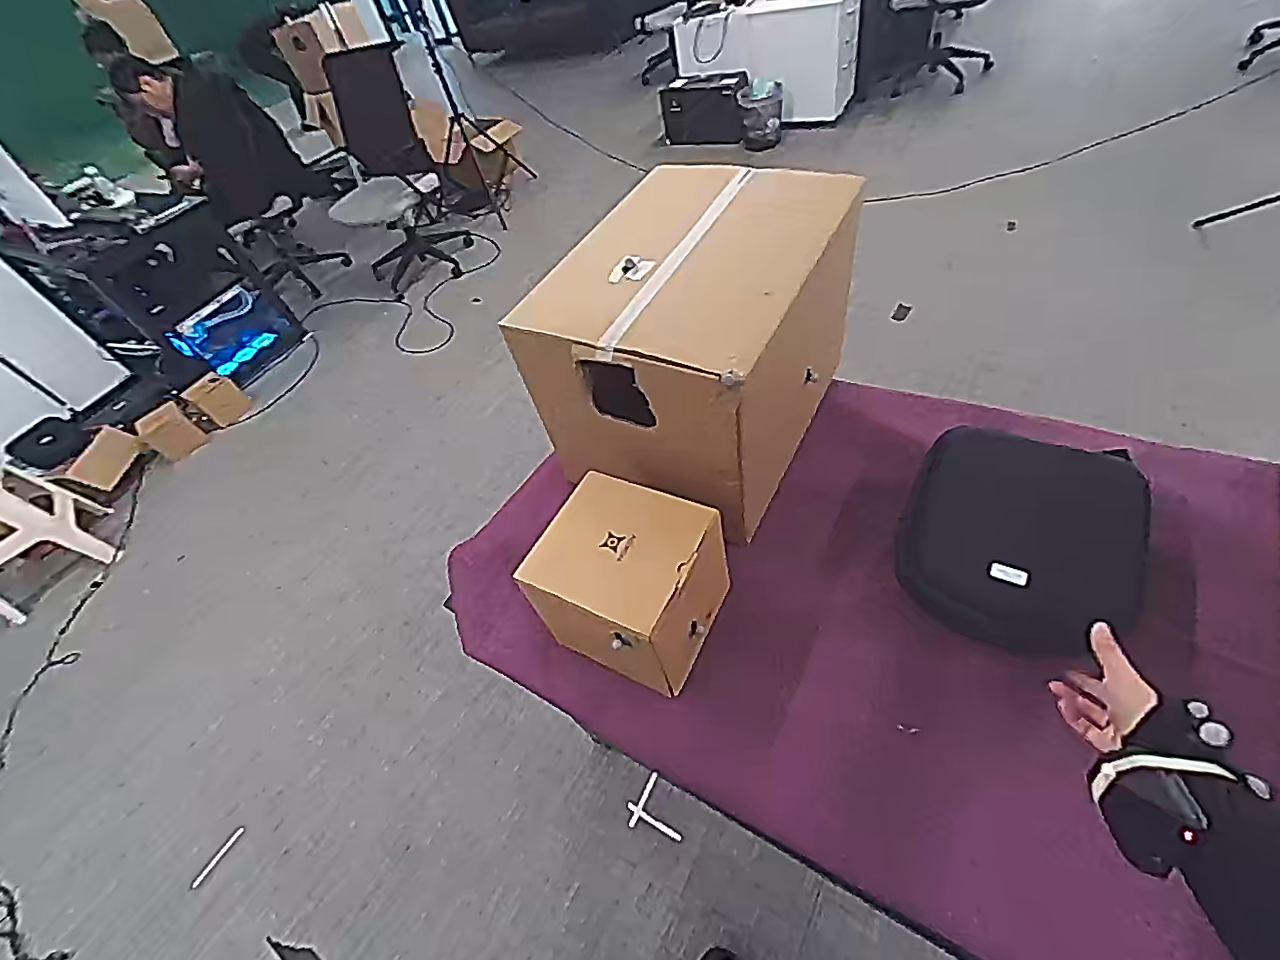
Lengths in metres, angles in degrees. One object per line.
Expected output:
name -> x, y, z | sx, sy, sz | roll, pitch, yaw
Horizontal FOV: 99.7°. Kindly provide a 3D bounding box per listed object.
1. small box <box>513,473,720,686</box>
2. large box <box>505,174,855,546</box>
small box -> -0.015, 0.121, 0.653 | 0.179, 0.176, 0.168 | 16, 56, 25
large box -> 0.085, -0.184, 0.788 | 0.320, 0.320, 0.408 | 18, 60, 25
